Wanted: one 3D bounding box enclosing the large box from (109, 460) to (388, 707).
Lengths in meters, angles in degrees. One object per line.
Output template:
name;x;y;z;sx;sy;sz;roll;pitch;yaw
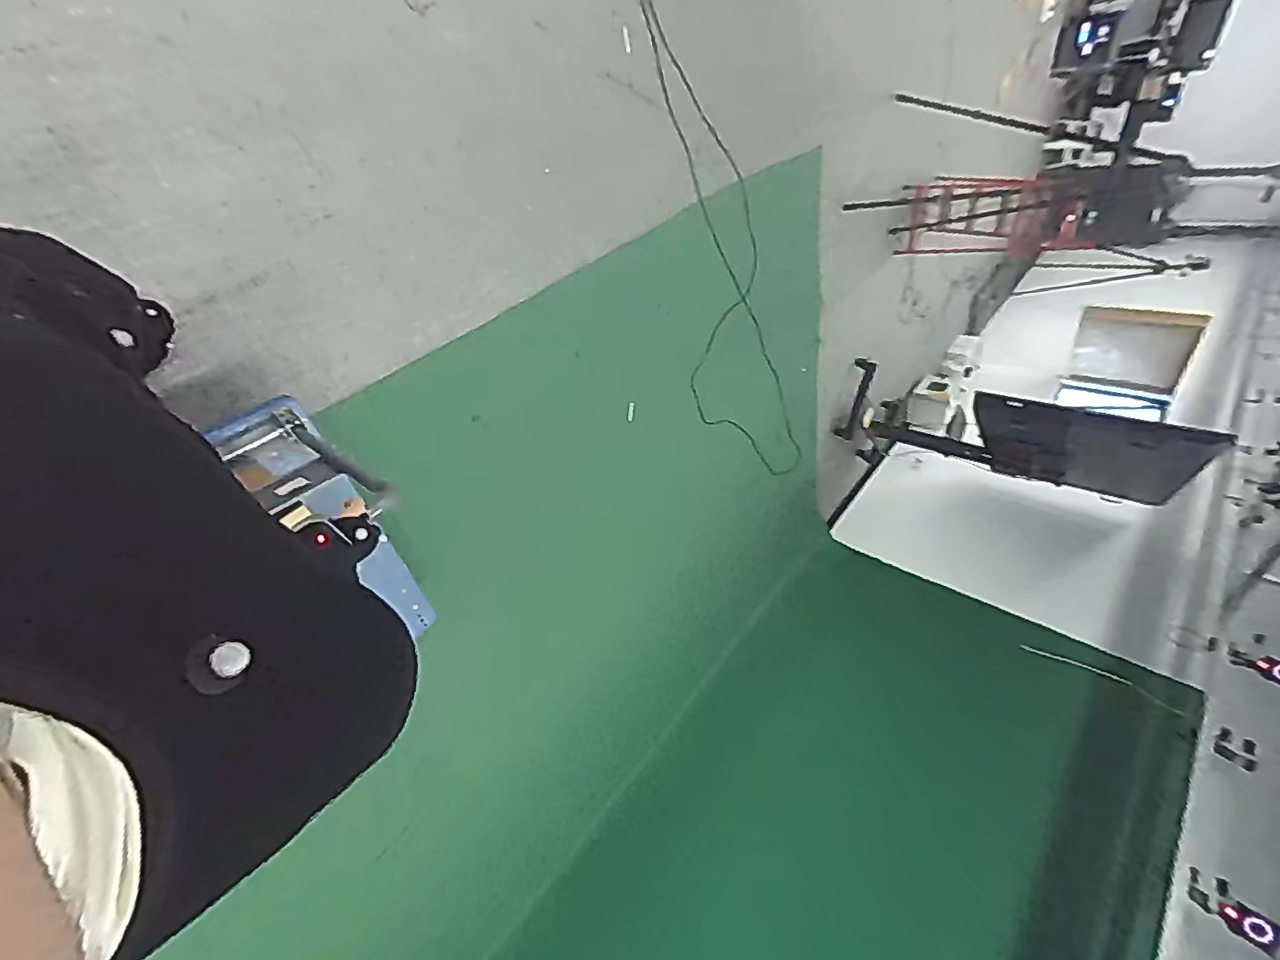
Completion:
large box;-0.876;0.227;1.244;0.320;0.320;0.408;-40;136;-30
